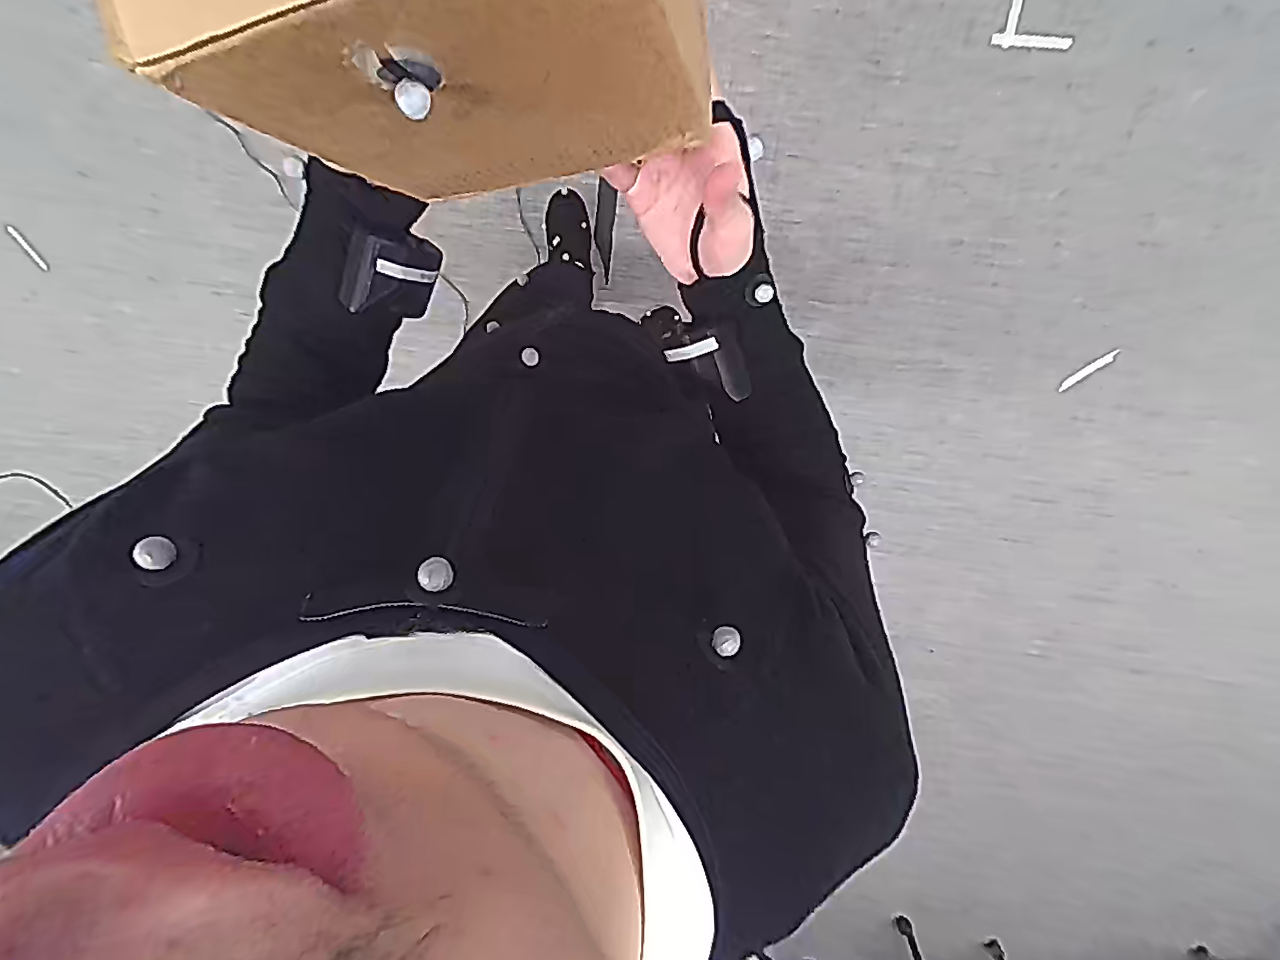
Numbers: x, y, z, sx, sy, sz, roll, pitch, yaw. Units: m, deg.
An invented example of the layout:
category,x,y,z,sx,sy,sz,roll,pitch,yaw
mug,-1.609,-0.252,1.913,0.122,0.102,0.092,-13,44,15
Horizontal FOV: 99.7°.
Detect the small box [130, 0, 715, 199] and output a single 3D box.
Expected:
category,x,y,z,sx,sy,sz,roll,pitch,yaw
small box,-0.073,-0.236,0.223,0.179,0.176,0.168,-3,102,17
